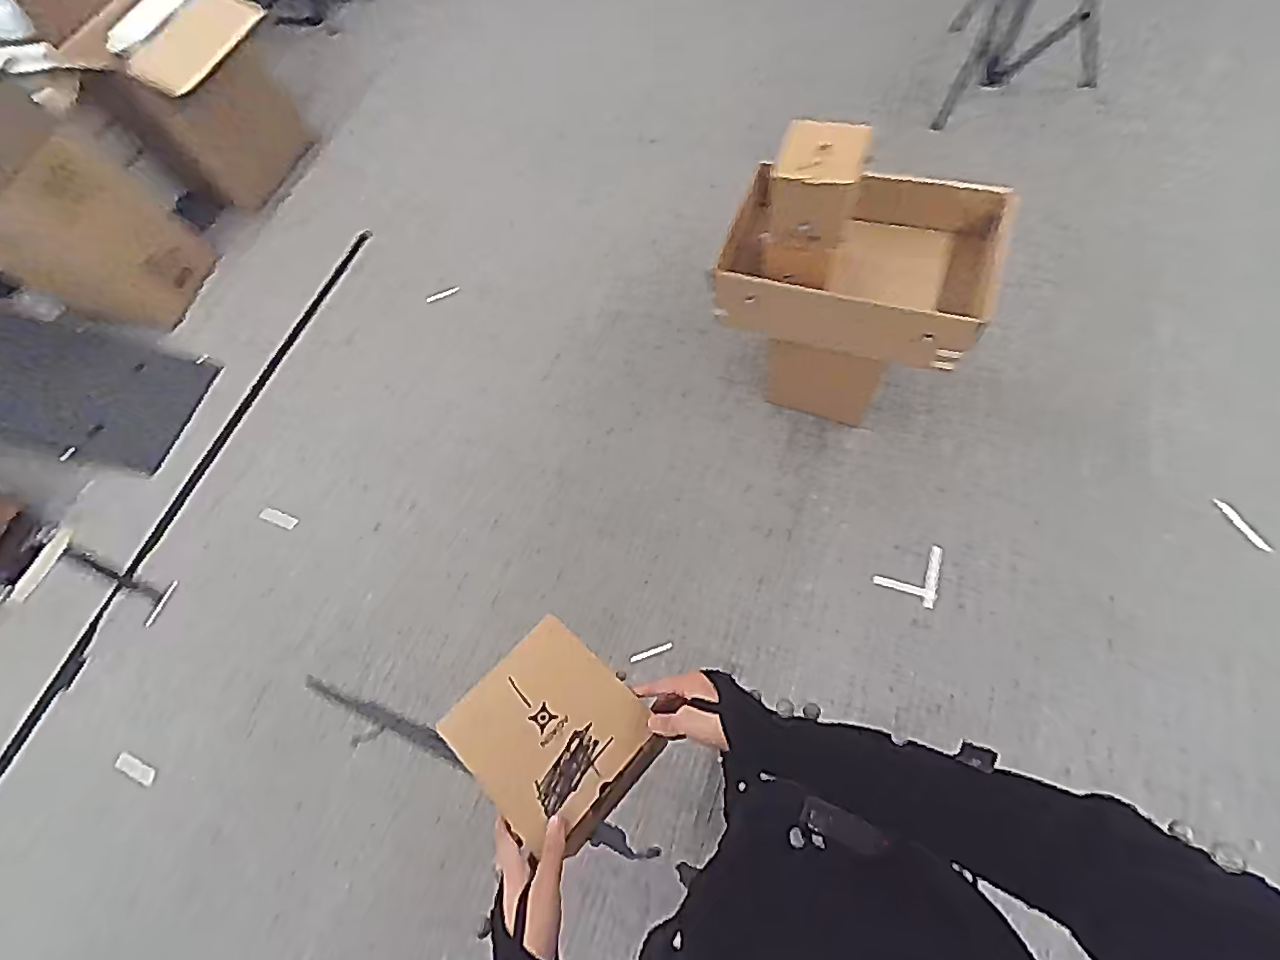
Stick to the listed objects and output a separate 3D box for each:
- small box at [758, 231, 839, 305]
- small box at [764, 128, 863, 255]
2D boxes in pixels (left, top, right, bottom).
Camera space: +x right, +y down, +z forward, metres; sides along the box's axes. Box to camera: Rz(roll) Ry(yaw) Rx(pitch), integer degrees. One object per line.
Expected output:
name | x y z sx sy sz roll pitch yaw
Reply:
small box | 0.397 -0.574 1.354 0.168 0.176 0.179 16 71 15
small box | 0.378 -0.639 1.203 0.168 0.176 0.179 16 71 15
